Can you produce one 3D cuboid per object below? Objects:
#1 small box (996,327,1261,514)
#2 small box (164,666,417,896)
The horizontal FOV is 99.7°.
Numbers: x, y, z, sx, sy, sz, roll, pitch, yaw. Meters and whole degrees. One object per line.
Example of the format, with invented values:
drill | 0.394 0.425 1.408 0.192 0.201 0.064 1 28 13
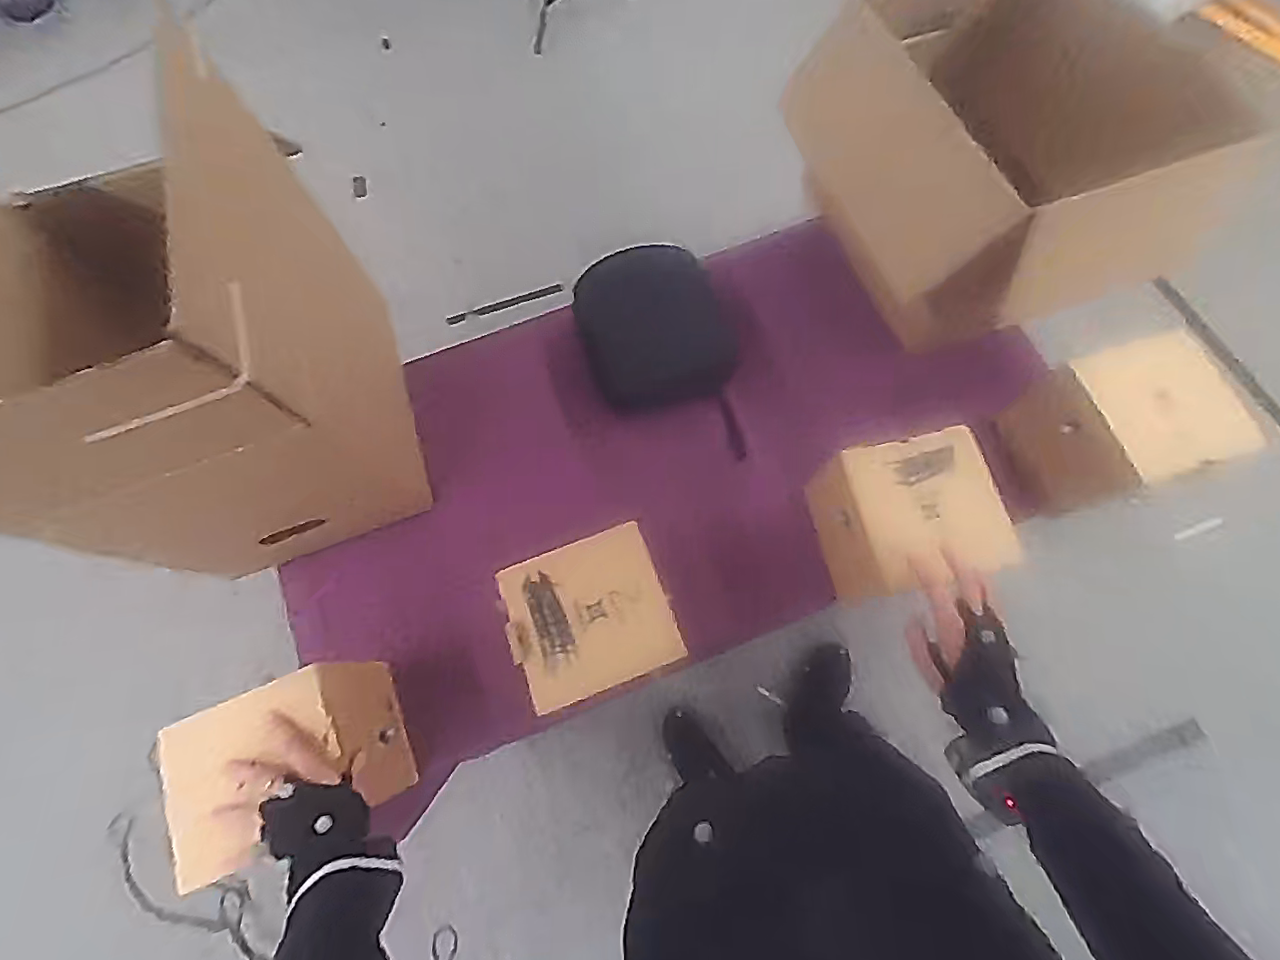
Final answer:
small box | 0.639 -0.073 0.739 0.168 0.176 0.179 -17 72 -3
small box | -0.399 0.336 0.641 0.179 0.176 0.168 -23 72 -7
